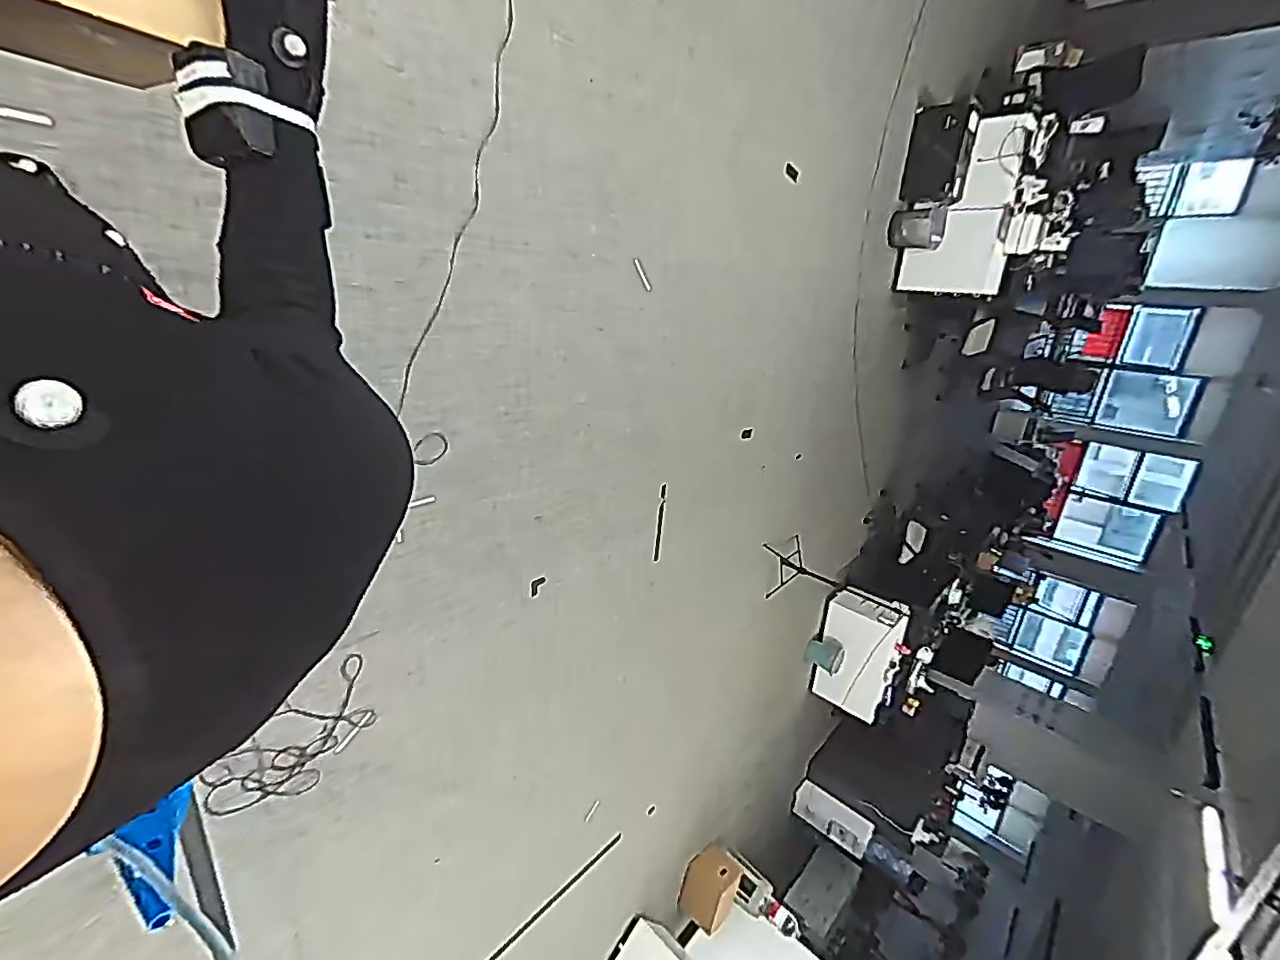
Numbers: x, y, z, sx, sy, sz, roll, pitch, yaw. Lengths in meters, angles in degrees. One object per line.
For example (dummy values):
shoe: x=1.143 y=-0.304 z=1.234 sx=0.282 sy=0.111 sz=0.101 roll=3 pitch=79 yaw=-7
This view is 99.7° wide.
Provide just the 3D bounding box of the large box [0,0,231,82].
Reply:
large box: x=-0.524 y=-0.476 z=0.290 sx=0.408 sy=0.320 sz=0.320 roll=-15 pitch=122 yaw=-49

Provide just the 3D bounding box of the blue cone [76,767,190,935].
blue cone: x=-1.117 y=0.850 z=1.220 sx=0.193 sy=0.380 sz=0.192 roll=15 pitch=95 yaw=-50
